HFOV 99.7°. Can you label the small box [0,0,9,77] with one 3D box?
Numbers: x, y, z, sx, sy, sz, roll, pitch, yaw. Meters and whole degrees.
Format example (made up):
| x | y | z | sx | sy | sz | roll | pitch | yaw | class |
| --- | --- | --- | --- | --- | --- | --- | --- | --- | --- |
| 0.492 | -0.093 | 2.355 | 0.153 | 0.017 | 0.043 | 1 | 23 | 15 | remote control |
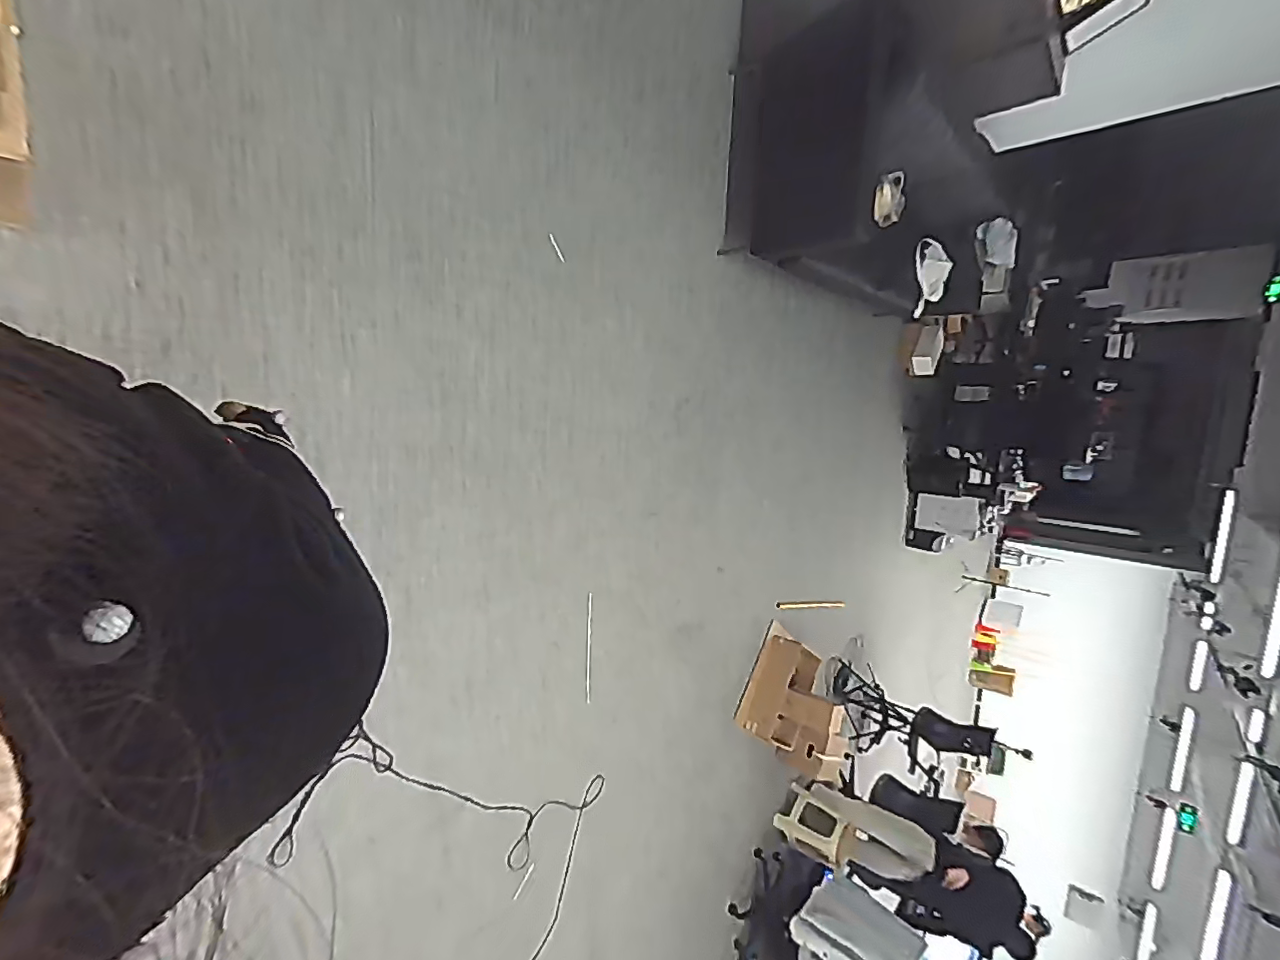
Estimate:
| x | y | z | sx | sy | sz | roll | pitch | yaw | class |
| --- | --- | --- | --- | --- | --- | --- | --- | --- | --- |
| -0.659 | -0.488 | 0.452 | 0.168 | 0.176 | 0.179 | 1 | 98 | -48 | small box |
